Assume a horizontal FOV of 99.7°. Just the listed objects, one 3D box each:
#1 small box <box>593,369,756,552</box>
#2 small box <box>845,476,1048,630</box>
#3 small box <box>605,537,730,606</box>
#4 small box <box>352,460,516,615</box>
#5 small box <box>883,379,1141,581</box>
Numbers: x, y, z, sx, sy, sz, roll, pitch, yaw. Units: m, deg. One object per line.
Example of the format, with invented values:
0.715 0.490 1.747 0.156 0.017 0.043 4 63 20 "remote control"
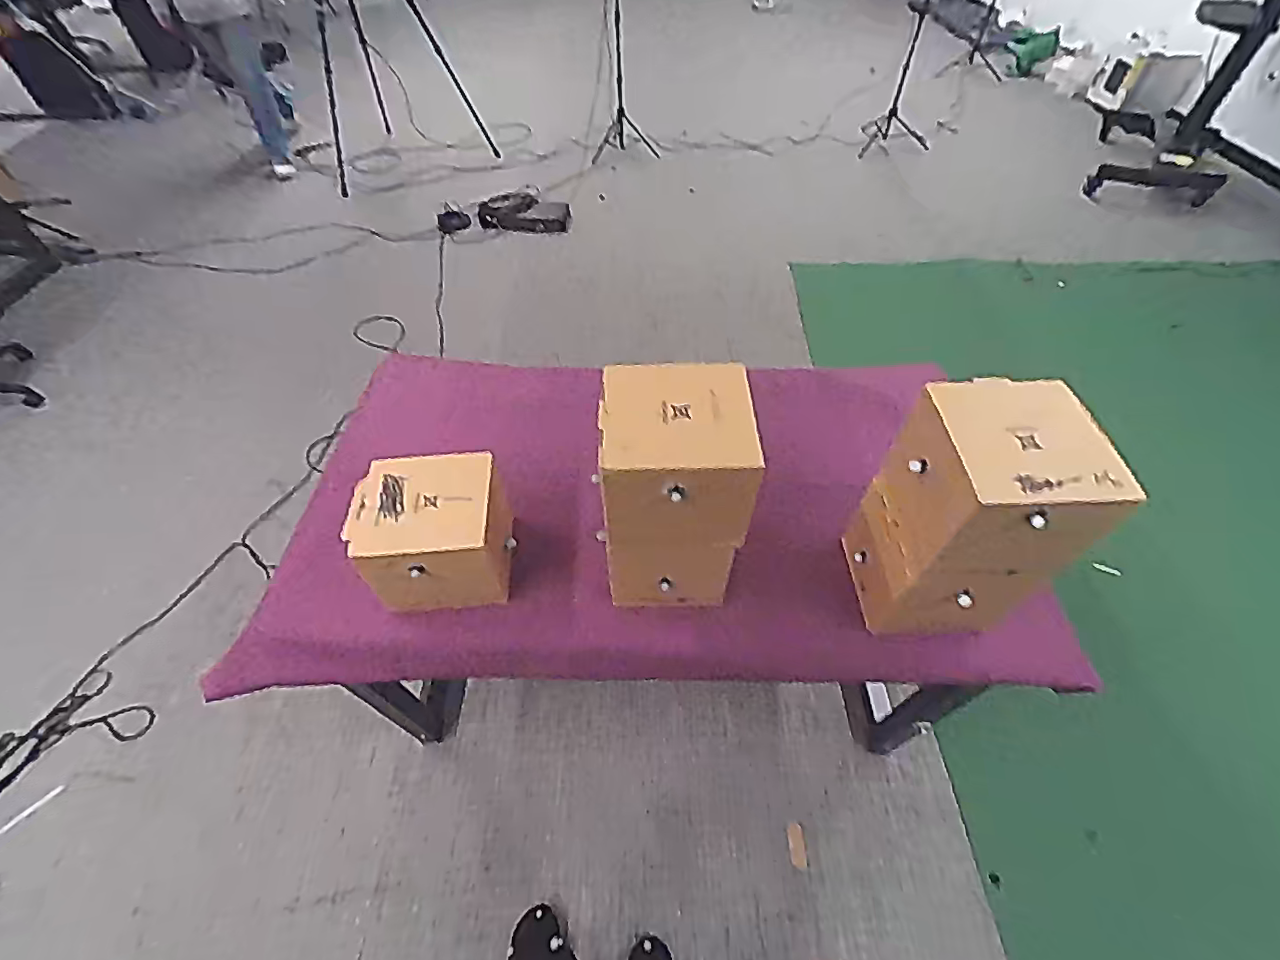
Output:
0.040 -0.020 0.680 0.179 0.176 0.168 -1 52 1 "small box"
0.417 0.105 0.774 0.179 0.176 0.168 -3 52 2 "small box"
0.040 0.078 0.810 0.168 0.176 0.179 -1 50 1 "small box"
-0.294 0.091 0.814 0.179 0.176 0.168 -5 52 -3 "small box"
0.414 0.002 0.646 0.168 0.176 0.179 -3 51 3 "small box"
